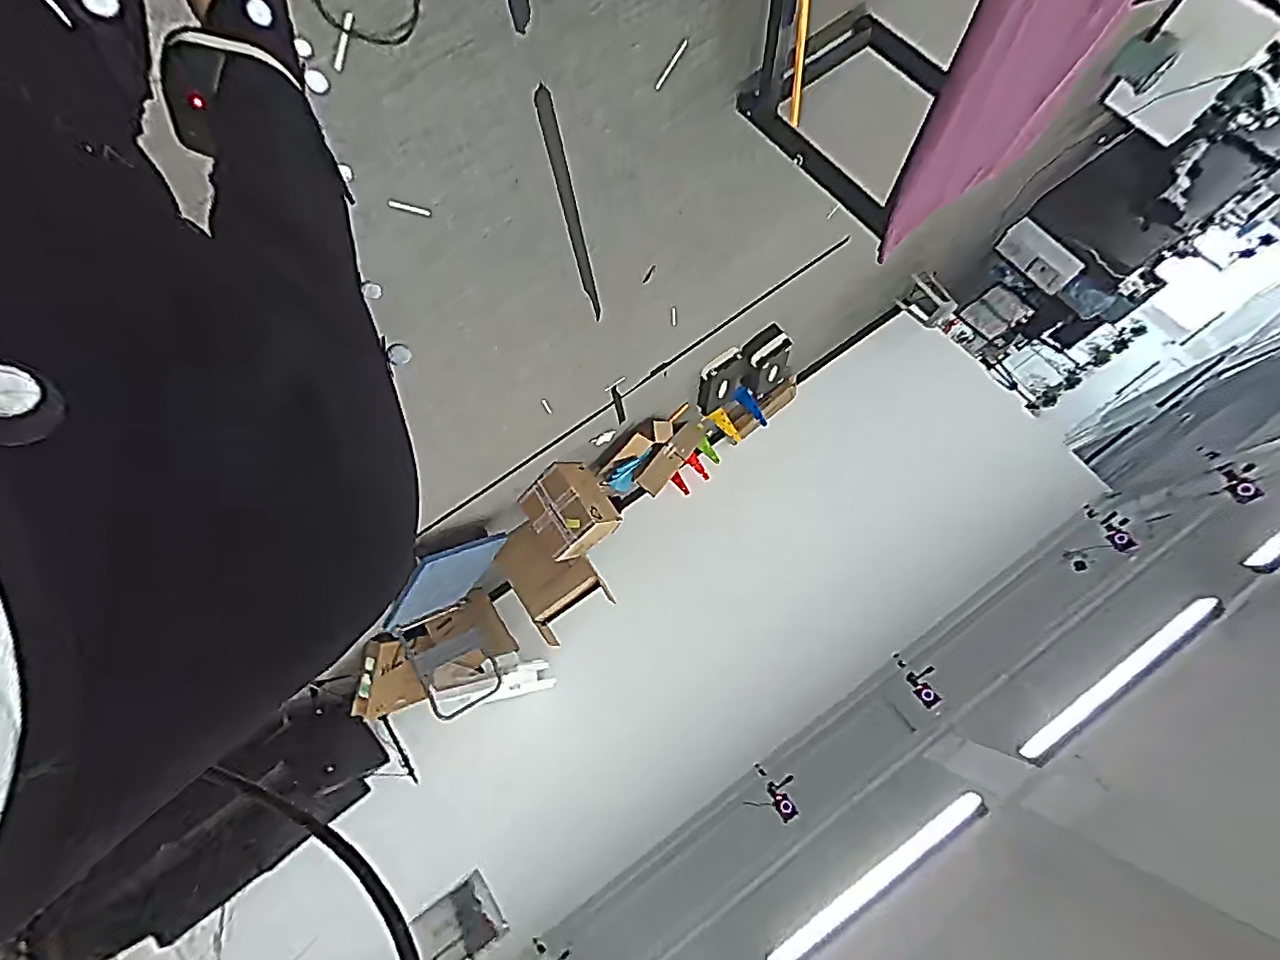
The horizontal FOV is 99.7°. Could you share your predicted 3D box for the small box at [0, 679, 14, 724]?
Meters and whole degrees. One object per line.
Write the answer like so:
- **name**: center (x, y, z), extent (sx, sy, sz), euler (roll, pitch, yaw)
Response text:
- **small box**: center (-1.113, 0.333, 0.788), extent (0.168, 0.176, 0.179), euler (-35, 166, -9)
